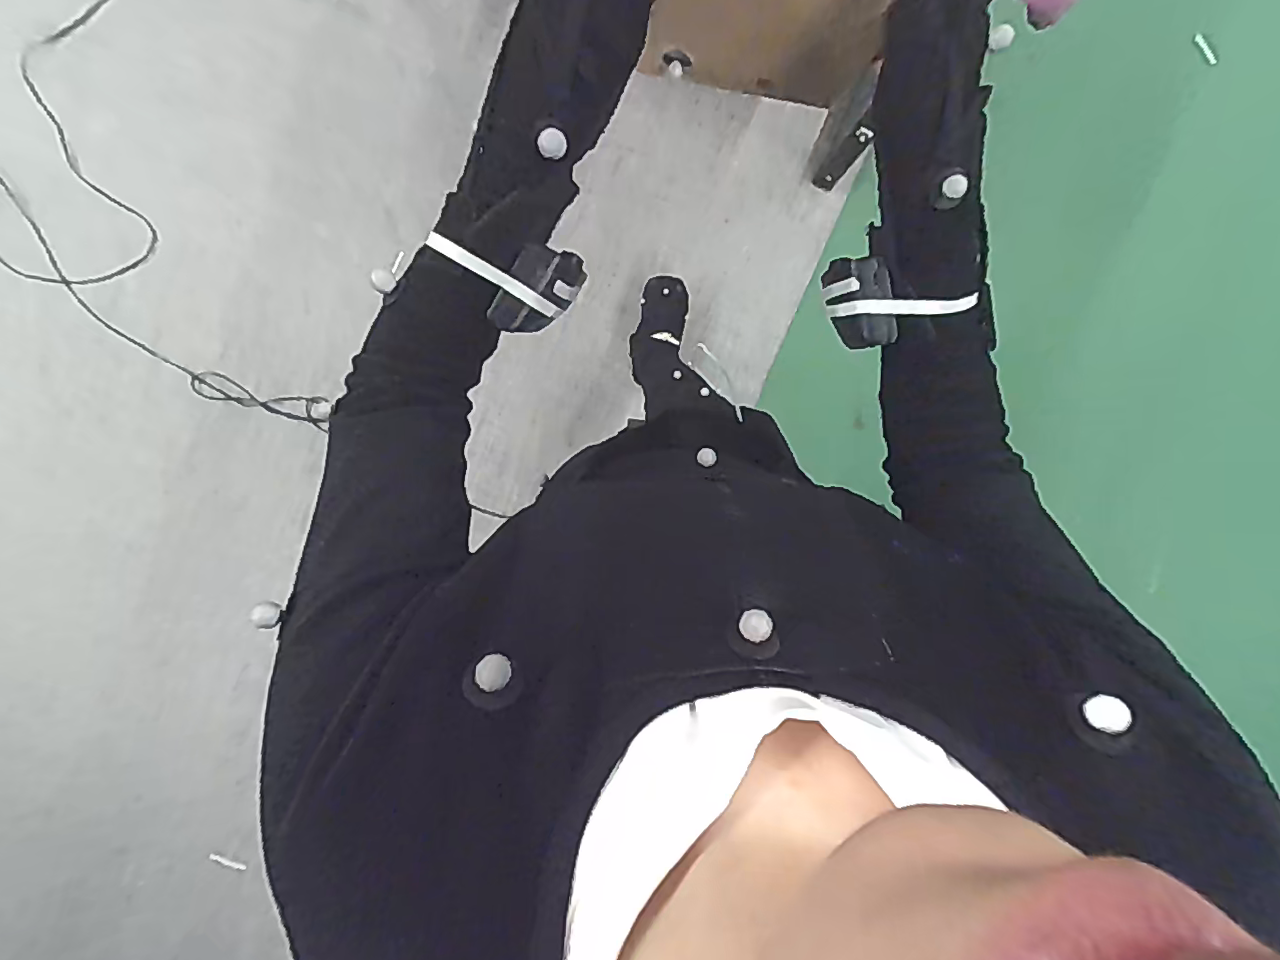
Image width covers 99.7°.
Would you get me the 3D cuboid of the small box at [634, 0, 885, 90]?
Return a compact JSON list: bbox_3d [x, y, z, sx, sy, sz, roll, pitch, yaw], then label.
[{"bbox_3d":[0.088,-0.390,0.342,0.168,0.176,0.179,7,100,-4],"label":"small box"}]
